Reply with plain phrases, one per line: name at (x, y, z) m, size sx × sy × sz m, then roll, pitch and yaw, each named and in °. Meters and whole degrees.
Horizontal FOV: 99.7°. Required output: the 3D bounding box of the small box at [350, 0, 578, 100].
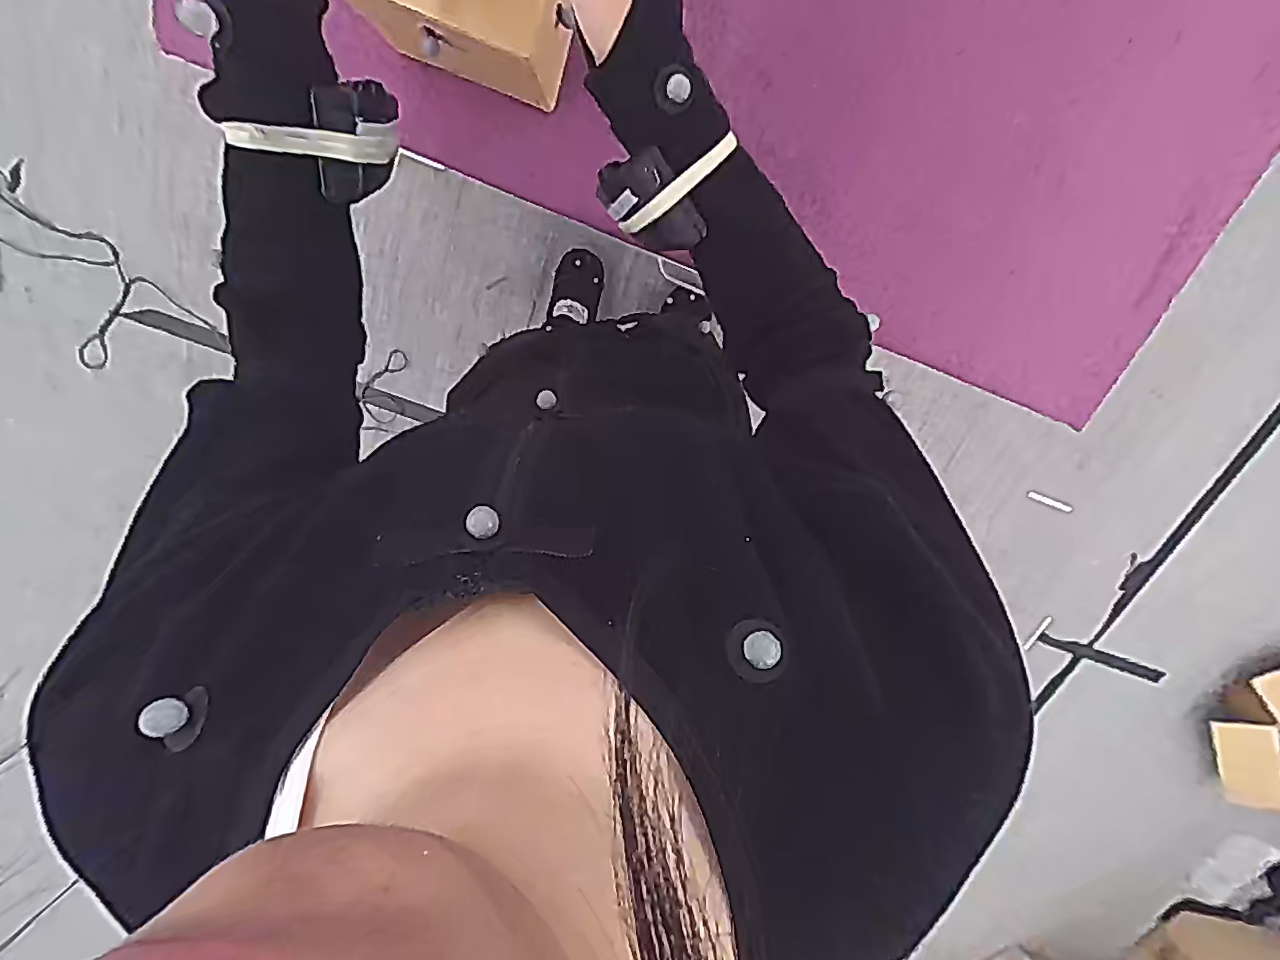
small box at (-0.148, -0.477, 0.487) m, size 0.179 × 0.176 × 0.168 m, roll 18°, pitch 110°, yaw -8°
